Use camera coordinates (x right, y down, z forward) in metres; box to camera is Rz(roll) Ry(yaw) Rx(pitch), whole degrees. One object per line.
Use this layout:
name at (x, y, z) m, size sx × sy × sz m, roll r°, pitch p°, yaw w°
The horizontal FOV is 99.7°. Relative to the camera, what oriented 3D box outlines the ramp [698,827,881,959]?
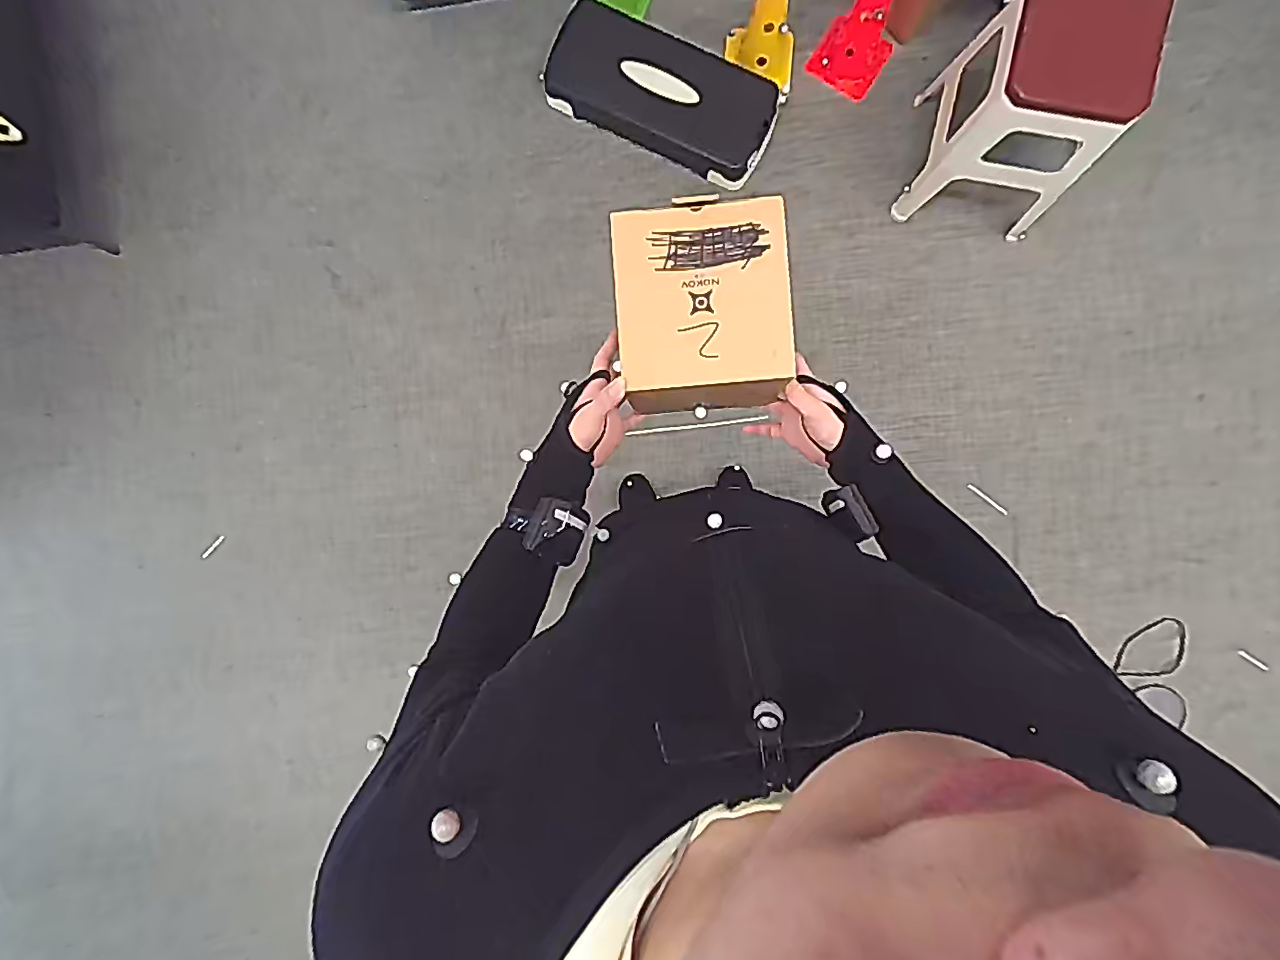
ramp at (0.464, 1.550, 1.536) m, size 0.509 × 0.206 × 0.991 m, roll -8°, pitch 89°, yaw 4°
